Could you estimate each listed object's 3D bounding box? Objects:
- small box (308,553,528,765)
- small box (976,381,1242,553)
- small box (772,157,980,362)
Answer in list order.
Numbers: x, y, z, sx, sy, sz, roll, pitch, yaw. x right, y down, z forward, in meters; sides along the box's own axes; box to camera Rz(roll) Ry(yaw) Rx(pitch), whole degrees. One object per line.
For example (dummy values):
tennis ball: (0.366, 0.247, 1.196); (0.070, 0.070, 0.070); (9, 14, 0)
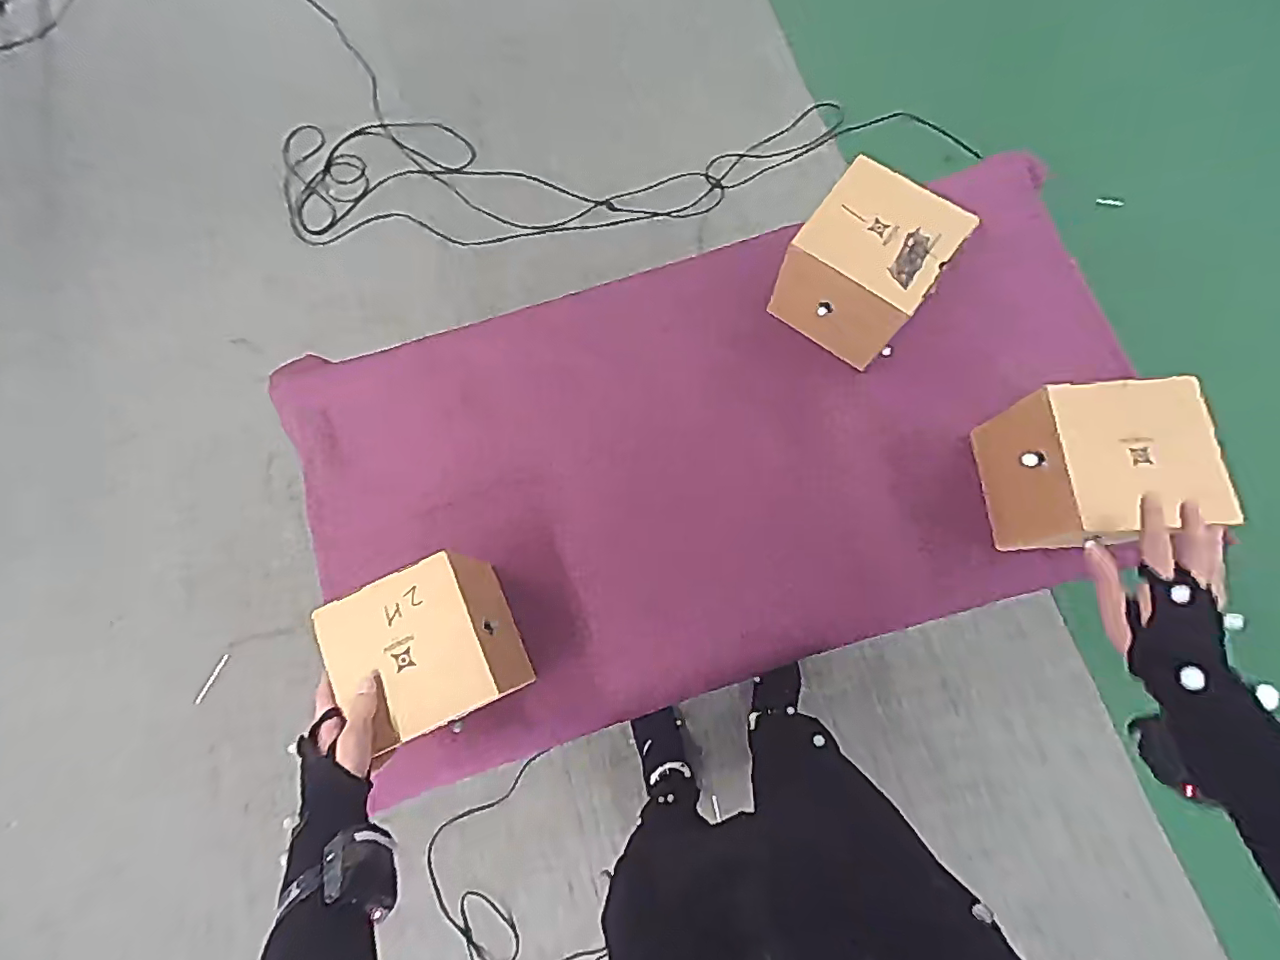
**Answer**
small box: (-0.256, 0.206, 0.660); (0.168, 0.176, 0.179); (-25, 76, -3)
small box: (0.555, -0.005, 0.671); (0.168, 0.176, 0.179); (-3, 74, 3)
small box: (0.310, -0.289, 0.750); (0.179, 0.176, 0.168); (37, 81, 10)
